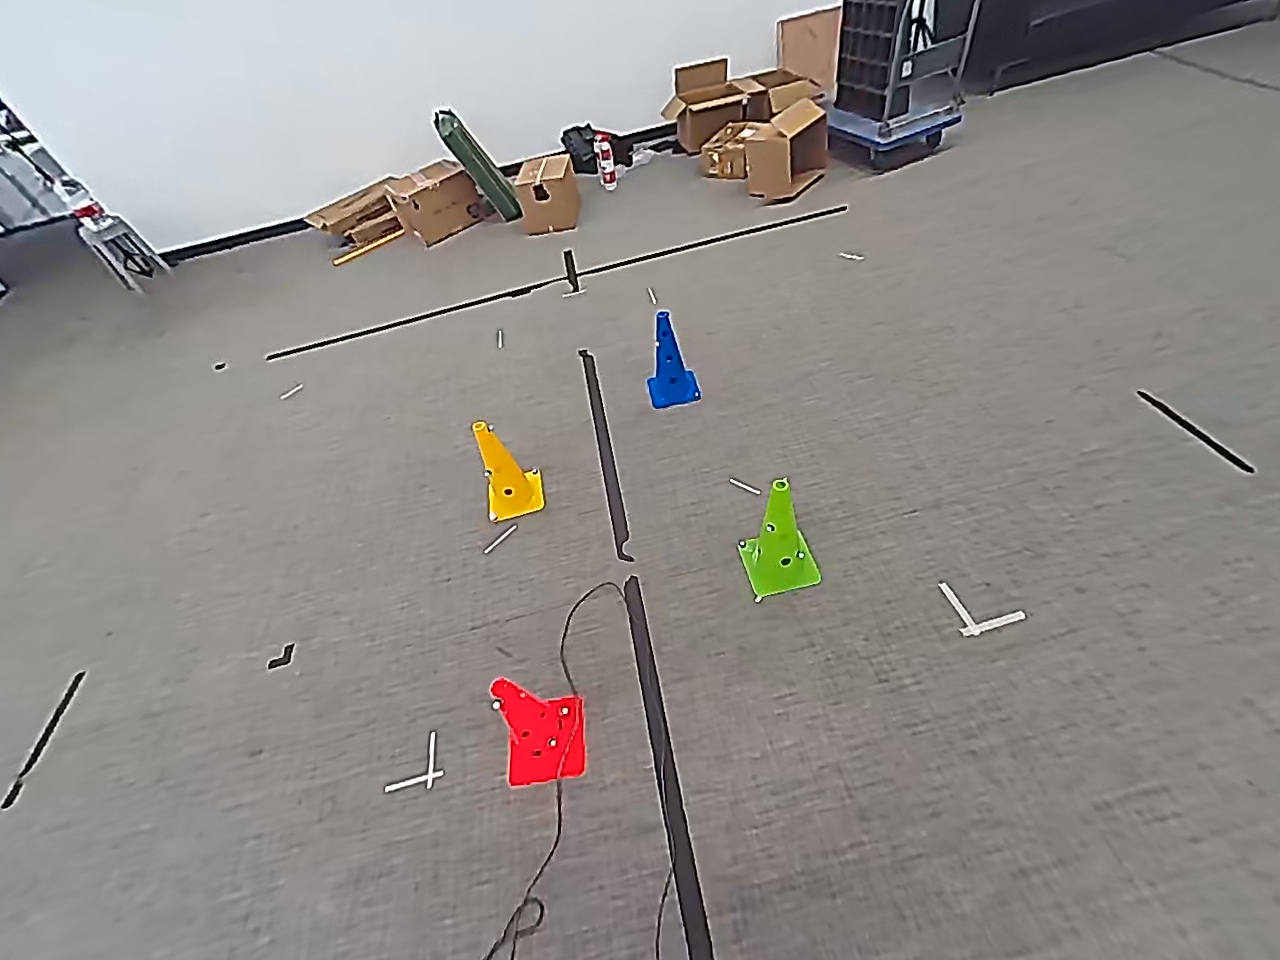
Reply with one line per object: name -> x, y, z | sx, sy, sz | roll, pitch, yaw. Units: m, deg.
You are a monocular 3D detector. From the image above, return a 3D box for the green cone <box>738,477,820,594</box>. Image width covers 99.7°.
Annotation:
green cone -> 0.388, 0.130, 1.498 | 0.202, 0.368, 0.200 | -13, 47, -1

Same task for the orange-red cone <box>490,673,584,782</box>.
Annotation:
orange-red cone -> -0.273, 0.549, 1.273 | 0.199, 0.360, 0.198 | -11, 46, 4

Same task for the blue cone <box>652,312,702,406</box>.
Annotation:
blue cone -> 0.125, -0.485, 2.129 | 0.192, 0.380, 0.193 | -10, 48, 2
